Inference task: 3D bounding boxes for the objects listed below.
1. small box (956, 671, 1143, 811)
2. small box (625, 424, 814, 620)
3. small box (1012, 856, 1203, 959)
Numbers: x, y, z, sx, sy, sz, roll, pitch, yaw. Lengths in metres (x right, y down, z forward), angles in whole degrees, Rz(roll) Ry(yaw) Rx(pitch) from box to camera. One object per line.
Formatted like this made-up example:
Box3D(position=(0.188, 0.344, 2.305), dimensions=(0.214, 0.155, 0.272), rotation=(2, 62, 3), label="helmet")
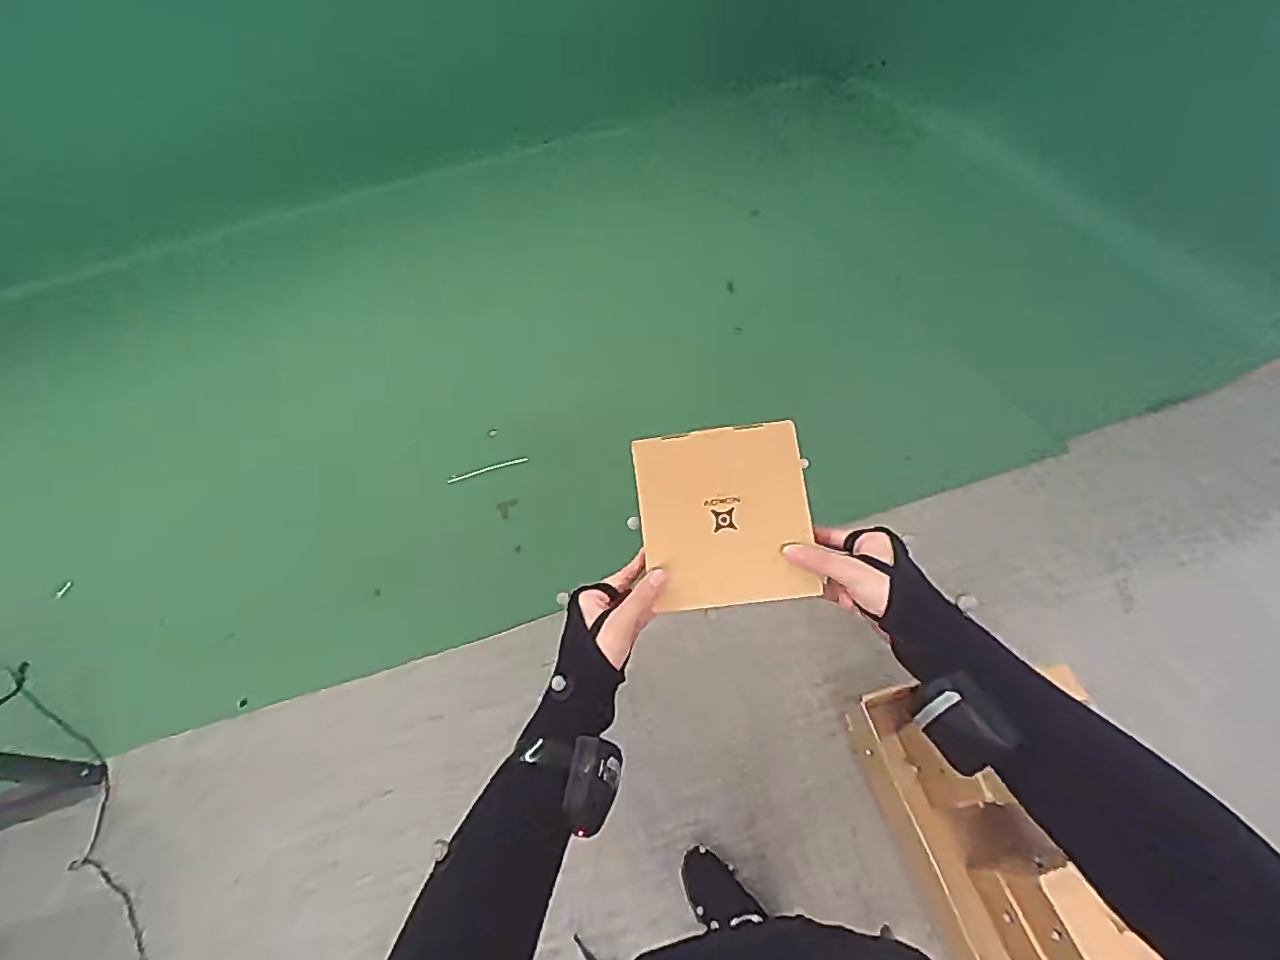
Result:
Box3D(position=(0.702, 0.465, 0.957), dimensions=(0.168, 0.176, 0.179), rotation=(-15, 55, -2), label="small box")
Box3D(position=(0.083, 0.054, 0.602), dimensions=(0.168, 0.176, 0.179), rotation=(-8, 77, 4), label="small box")
Box3D(position=(0.795, 0.776, 0.931), dimensions=(0.168, 0.176, 0.179), rotation=(-18, 54, -2), label="small box")
